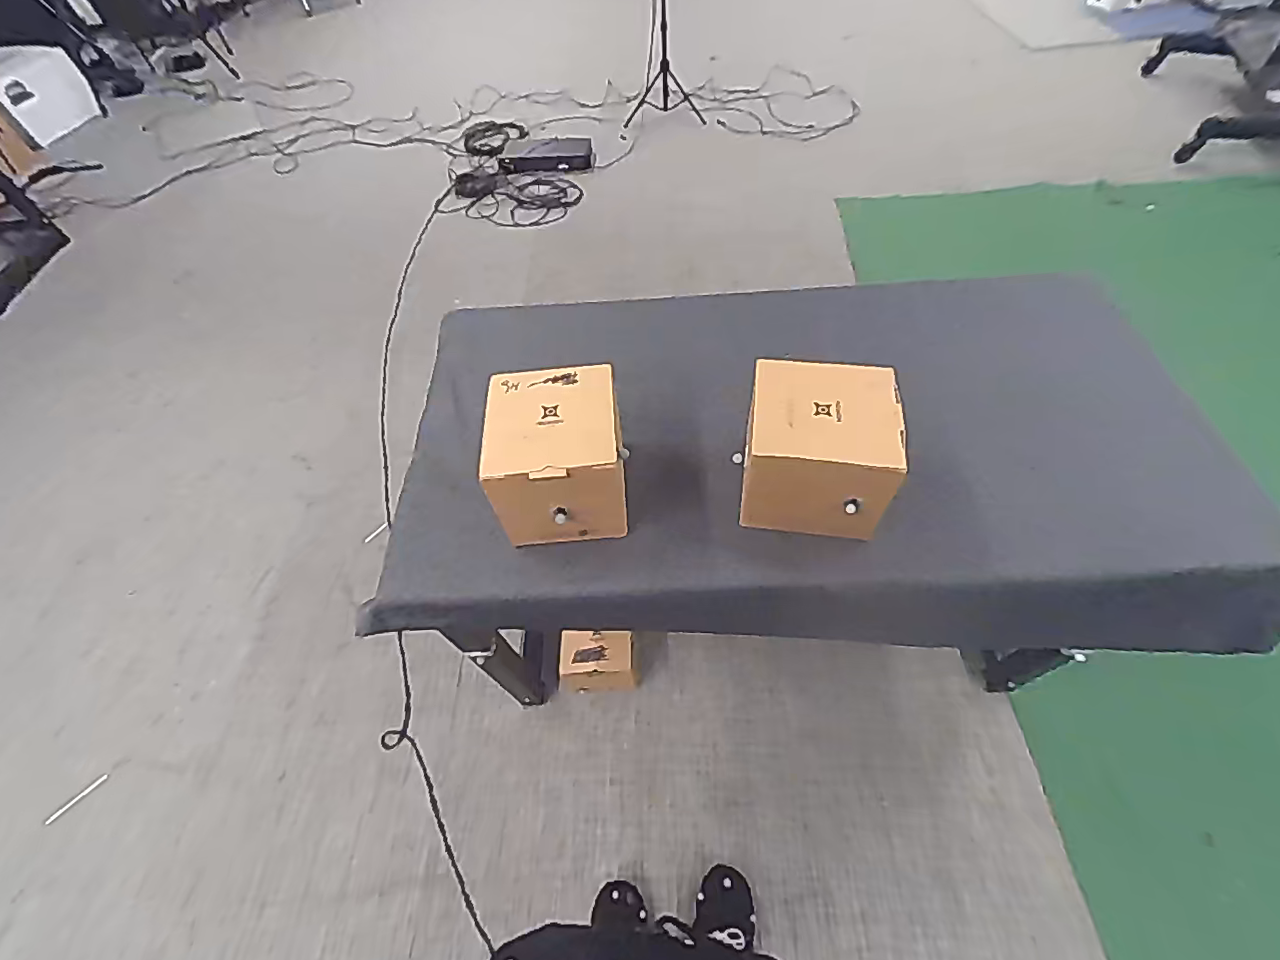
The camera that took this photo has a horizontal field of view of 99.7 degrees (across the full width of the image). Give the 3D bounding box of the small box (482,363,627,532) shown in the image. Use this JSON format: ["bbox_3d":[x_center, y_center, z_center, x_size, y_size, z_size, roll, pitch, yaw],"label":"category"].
[{"bbox_3d":[-0.107,-0.037,0.750,0.168,0.176,0.179,-4,56,0],"label":"small box"}]

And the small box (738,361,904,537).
[{"bbox_3d":[0.233,-0.037,0.732,0.179,0.176,0.168,6,56,9],"label":"small box"}]
